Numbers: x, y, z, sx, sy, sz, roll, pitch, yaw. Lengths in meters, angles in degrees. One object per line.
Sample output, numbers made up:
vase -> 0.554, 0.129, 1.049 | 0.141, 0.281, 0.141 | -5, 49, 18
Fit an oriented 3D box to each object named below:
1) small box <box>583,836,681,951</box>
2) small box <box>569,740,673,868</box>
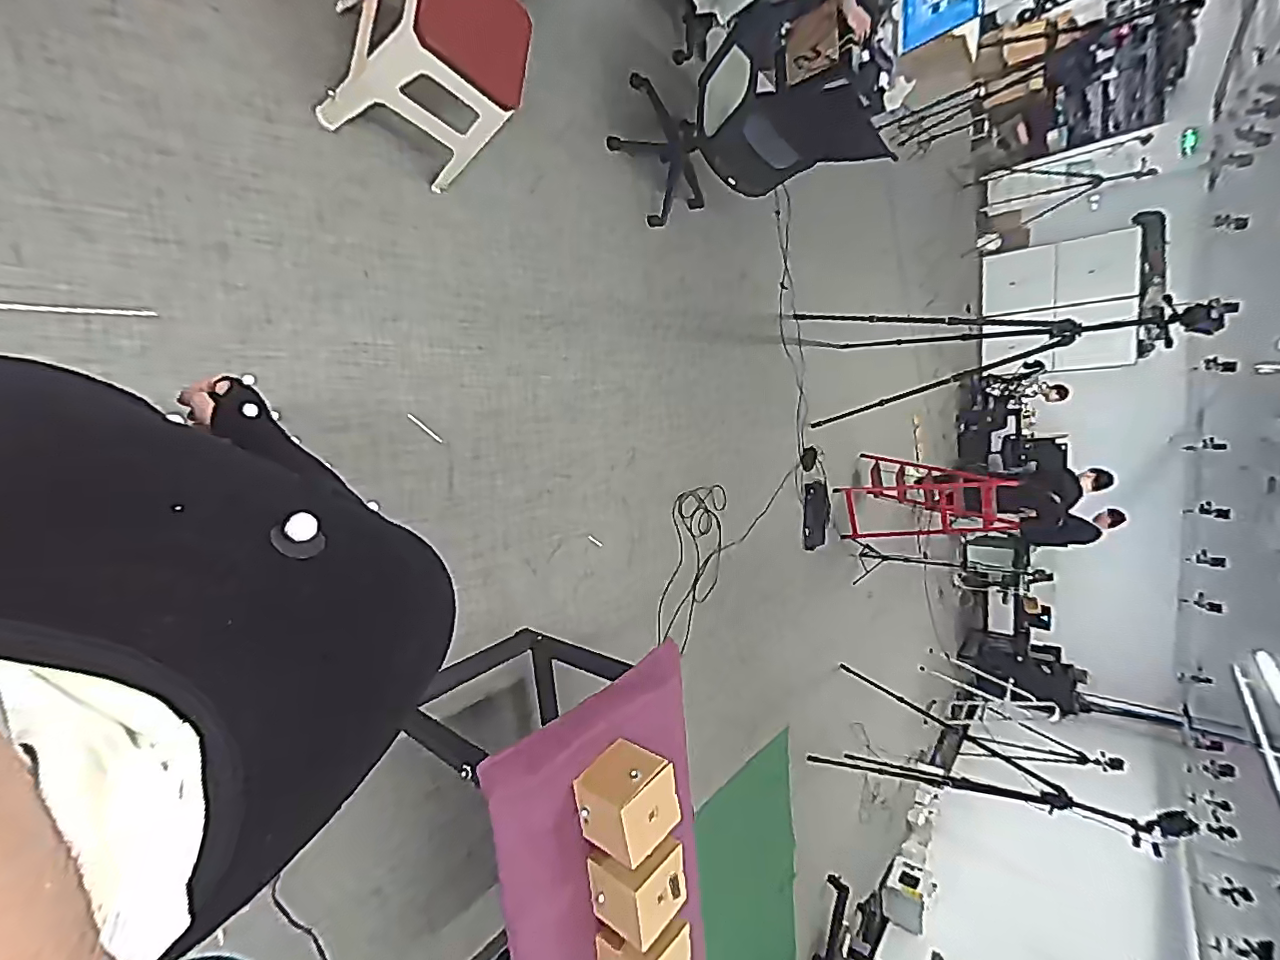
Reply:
small box -> -0.020, 0.992, 1.349 | 0.179, 0.176, 0.168 | -15, 103, -46
small box -> -0.046, 0.770, 1.308 | 0.179, 0.176, 0.168 | -21, 107, -45
